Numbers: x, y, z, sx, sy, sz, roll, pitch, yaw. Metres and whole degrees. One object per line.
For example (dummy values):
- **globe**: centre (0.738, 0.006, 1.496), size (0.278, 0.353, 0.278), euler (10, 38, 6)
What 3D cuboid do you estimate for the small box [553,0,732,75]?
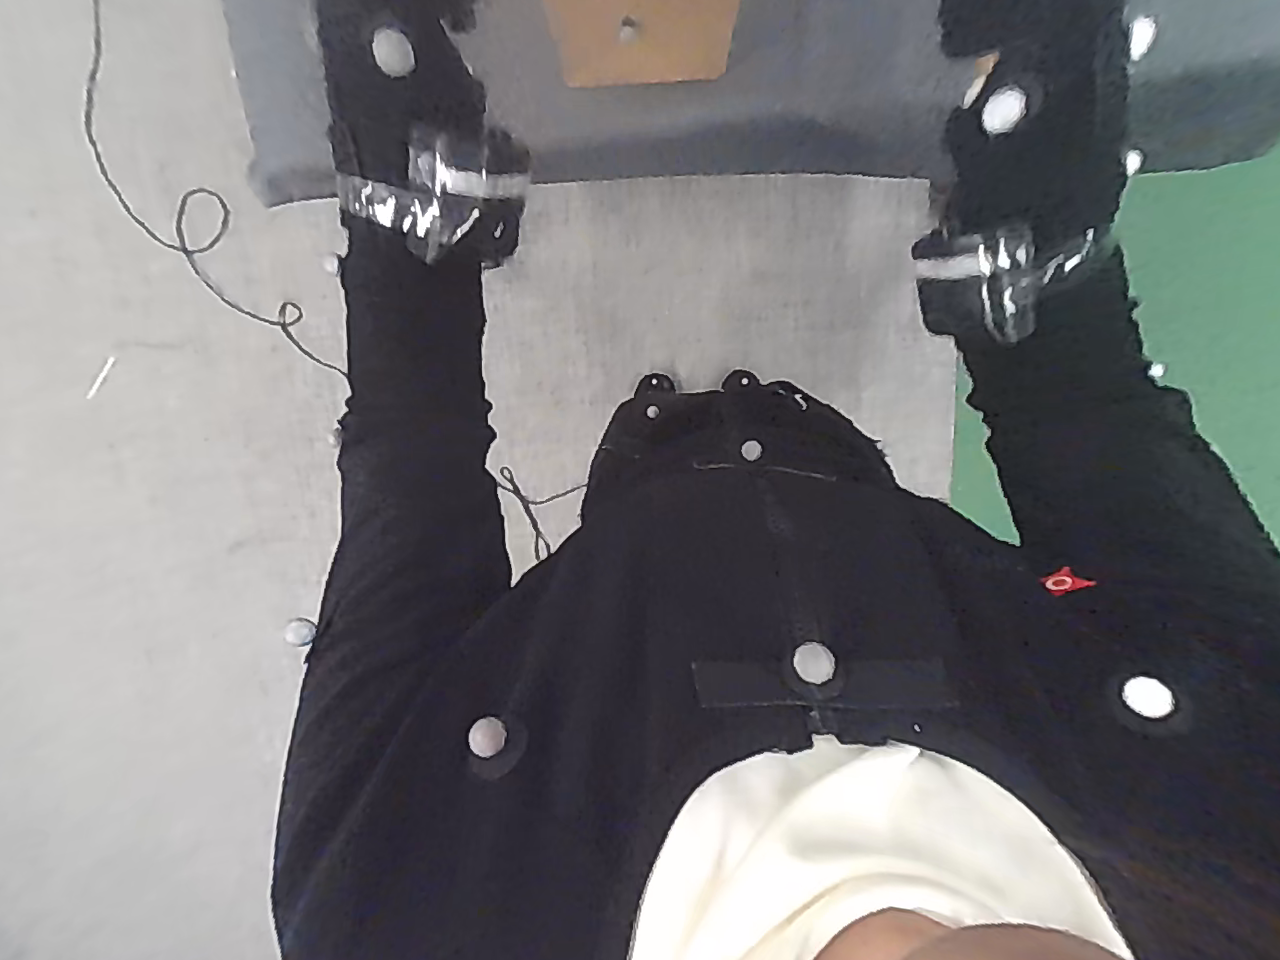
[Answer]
- **small box**: centre (0.000, -0.521, 0.514), size (0.179, 0.176, 0.168), euler (-2, 100, 3)
